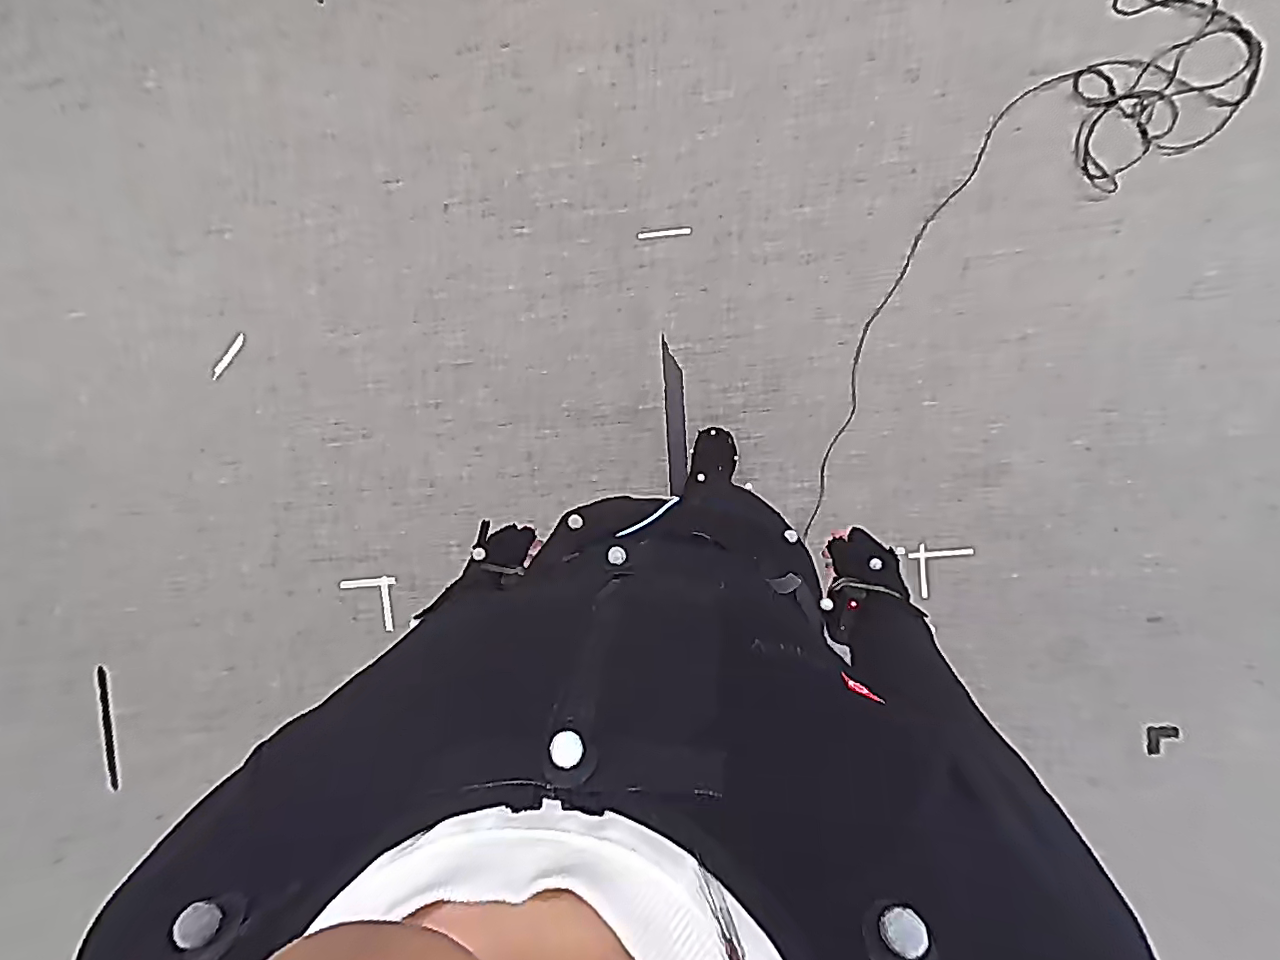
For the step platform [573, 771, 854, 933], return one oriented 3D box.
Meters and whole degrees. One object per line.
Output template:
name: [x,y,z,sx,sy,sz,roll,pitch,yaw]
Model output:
step platform: [0.174,0.927,1.366,0.684,0.204,0.286,-5,91,9]
